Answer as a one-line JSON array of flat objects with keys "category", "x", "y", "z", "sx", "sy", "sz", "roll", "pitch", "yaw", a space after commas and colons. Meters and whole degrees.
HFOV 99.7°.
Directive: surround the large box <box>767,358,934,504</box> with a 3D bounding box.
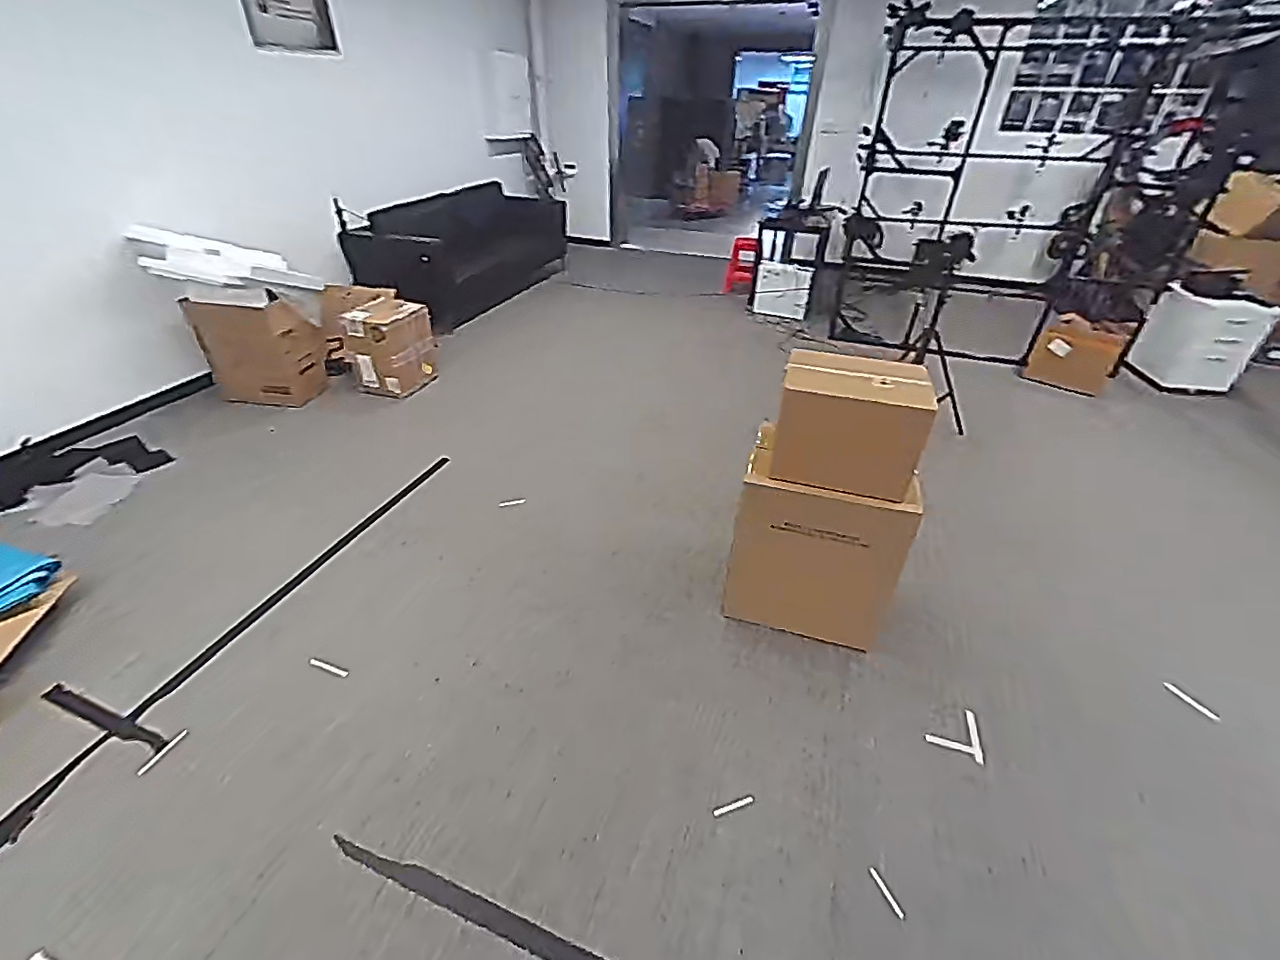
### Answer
[{"category": "large box", "x": 0.630, "y": -0.160, "z": 1.683, "sx": 0.408, "sy": 0.320, "sz": 0.320, "roll": 11, "pitch": 37, "yaw": 13}]
